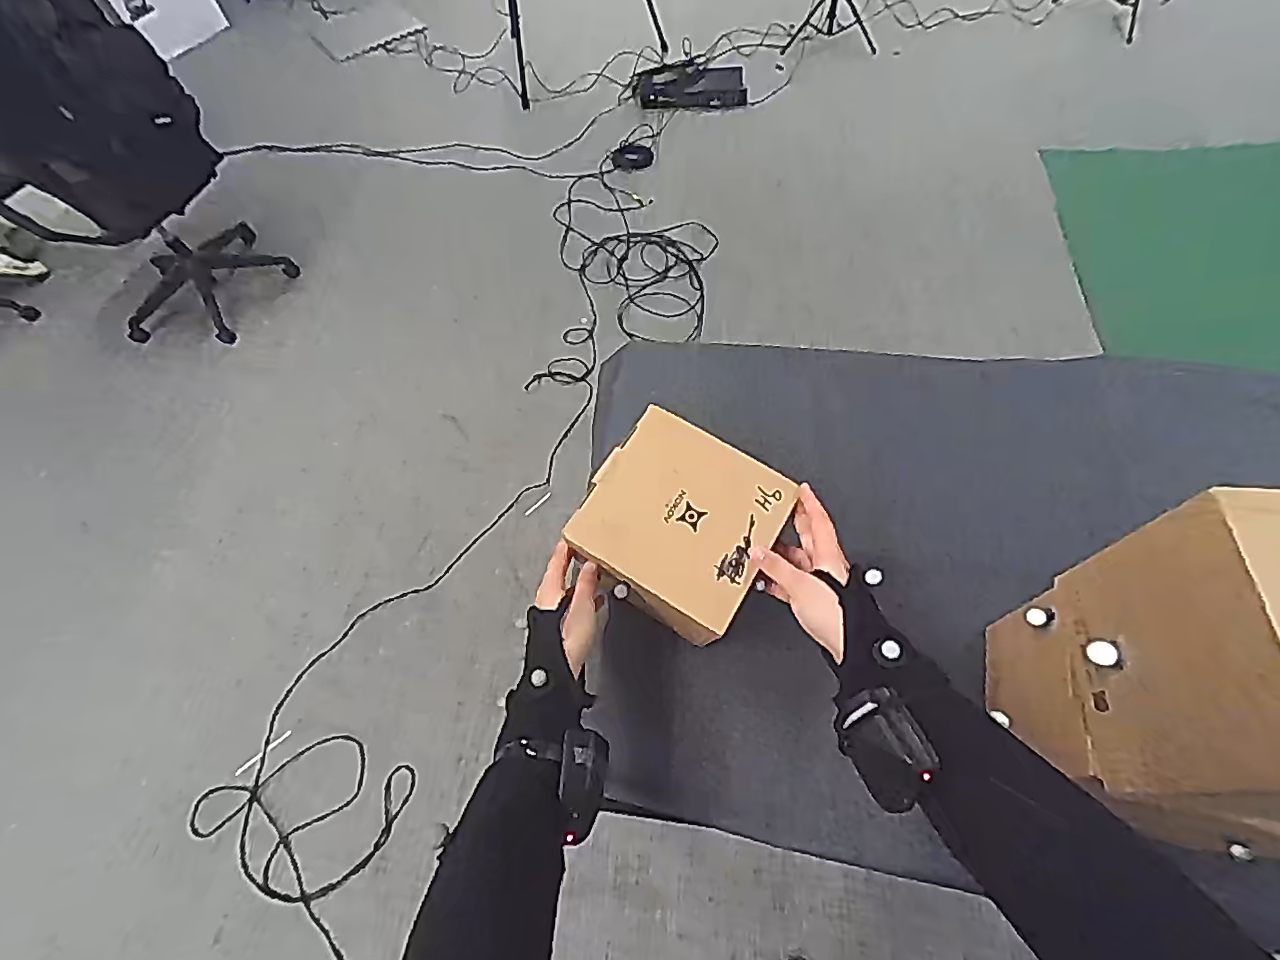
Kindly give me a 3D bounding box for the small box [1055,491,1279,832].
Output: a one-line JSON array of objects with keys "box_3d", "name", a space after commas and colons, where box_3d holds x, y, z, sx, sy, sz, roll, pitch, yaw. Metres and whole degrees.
[{"box_3d": [0.416, 0.124, 0.340, 0.179, 0.176, 0.168, 5, 60, 9], "name": "small box"}]
